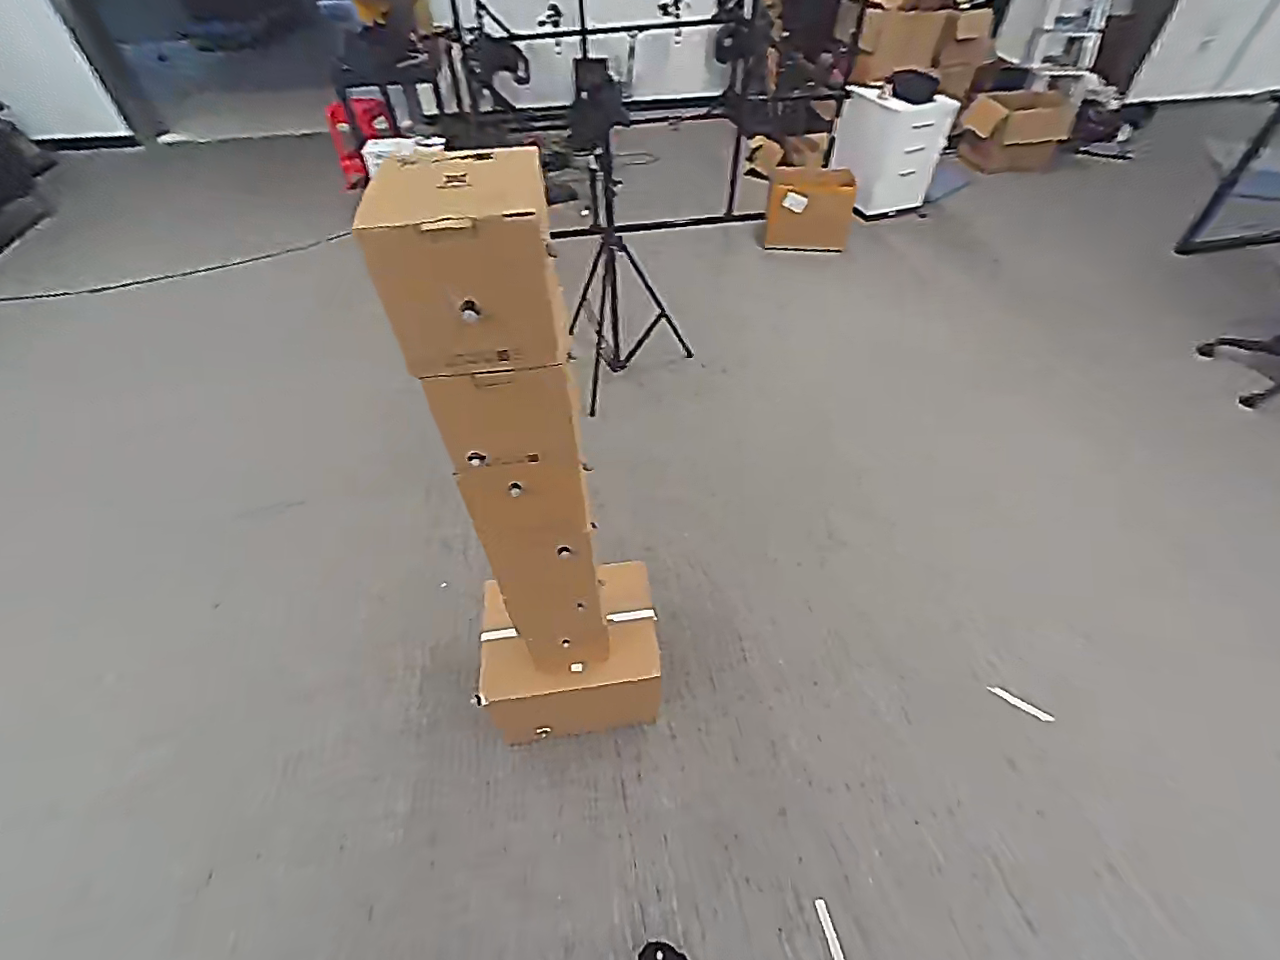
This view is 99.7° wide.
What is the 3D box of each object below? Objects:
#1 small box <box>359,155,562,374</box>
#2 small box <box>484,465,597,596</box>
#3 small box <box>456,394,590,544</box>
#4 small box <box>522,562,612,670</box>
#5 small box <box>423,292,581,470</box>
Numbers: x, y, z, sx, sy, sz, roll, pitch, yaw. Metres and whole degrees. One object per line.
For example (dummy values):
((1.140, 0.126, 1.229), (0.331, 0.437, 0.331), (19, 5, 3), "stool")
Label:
((-0.180, -0.231, 0.599), (0.168, 0.176, 0.179), (-6, 50, -4), "small box")
((-0.168, 0.091, 0.968), (0.179, 0.176, 0.168), (-6, 49, -4), "small box")
((-0.171, -0.017, 0.847), (0.179, 0.176, 0.168), (-6, 50, -3), "small box")
((-0.162, 0.309, 1.214), (0.179, 0.176, 0.168), (-8, 50, -7), "small box")
((-0.171, -0.126, 0.725), (0.168, 0.176, 0.179), (-6, 49, -4), "small box")
